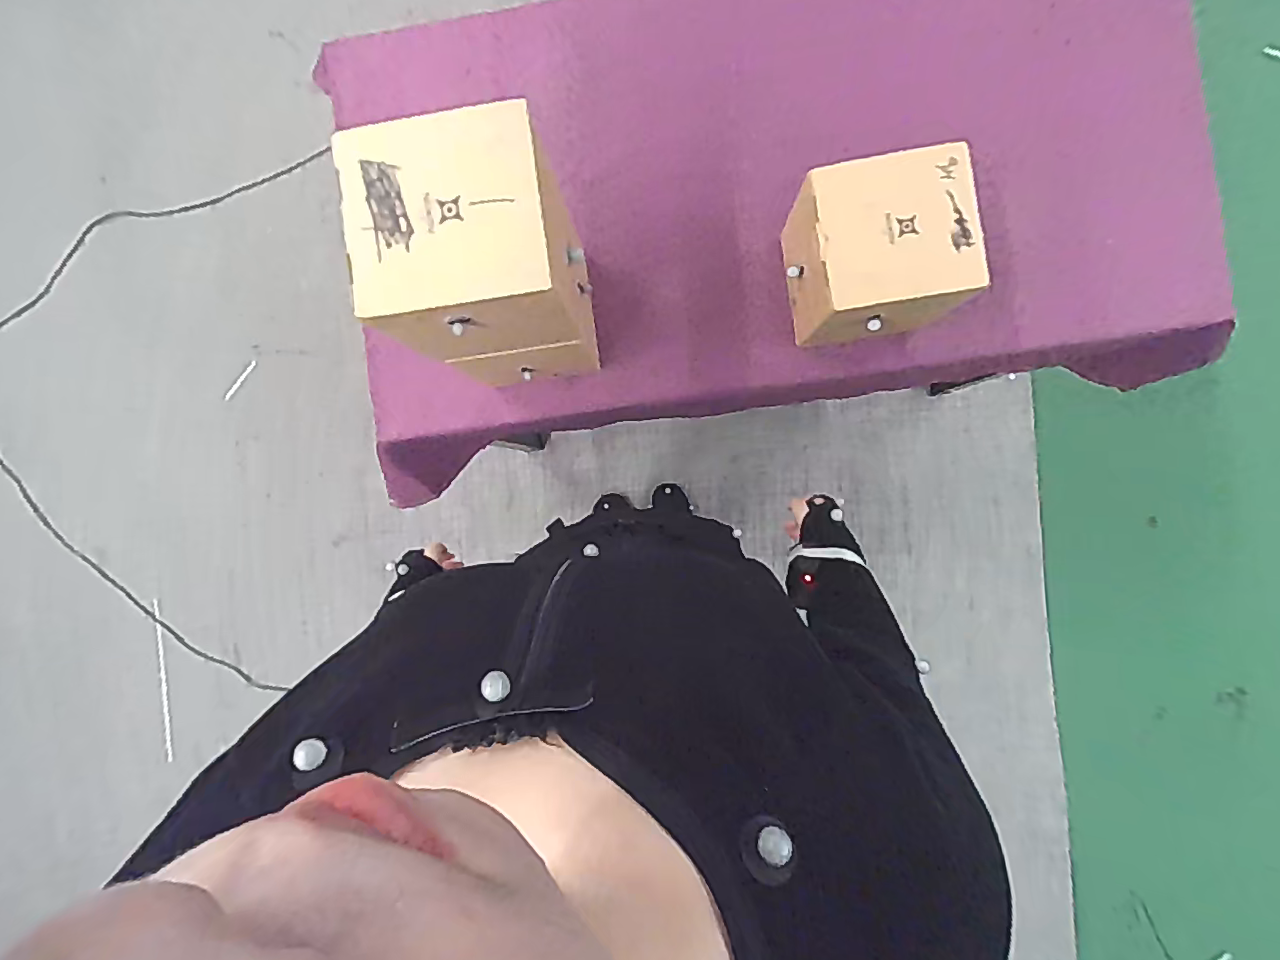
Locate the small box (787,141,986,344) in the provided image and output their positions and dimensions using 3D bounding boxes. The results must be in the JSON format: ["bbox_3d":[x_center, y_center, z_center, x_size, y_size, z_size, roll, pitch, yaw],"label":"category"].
[{"bbox_3d":[0.290,-0.280,0.678,0.179,0.176,0.168,-8,90,4],"label":"small box"}]

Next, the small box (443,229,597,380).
[{"bbox_3d":[-0.154,-0.233,0.706,0.168,0.176,0.179,-7,89,3],"label":"small box"}]

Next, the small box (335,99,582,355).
[{"bbox_3d":[-0.165,-0.232,0.542,0.179,0.176,0.168,-8,90,3],"label":"small box"}]
